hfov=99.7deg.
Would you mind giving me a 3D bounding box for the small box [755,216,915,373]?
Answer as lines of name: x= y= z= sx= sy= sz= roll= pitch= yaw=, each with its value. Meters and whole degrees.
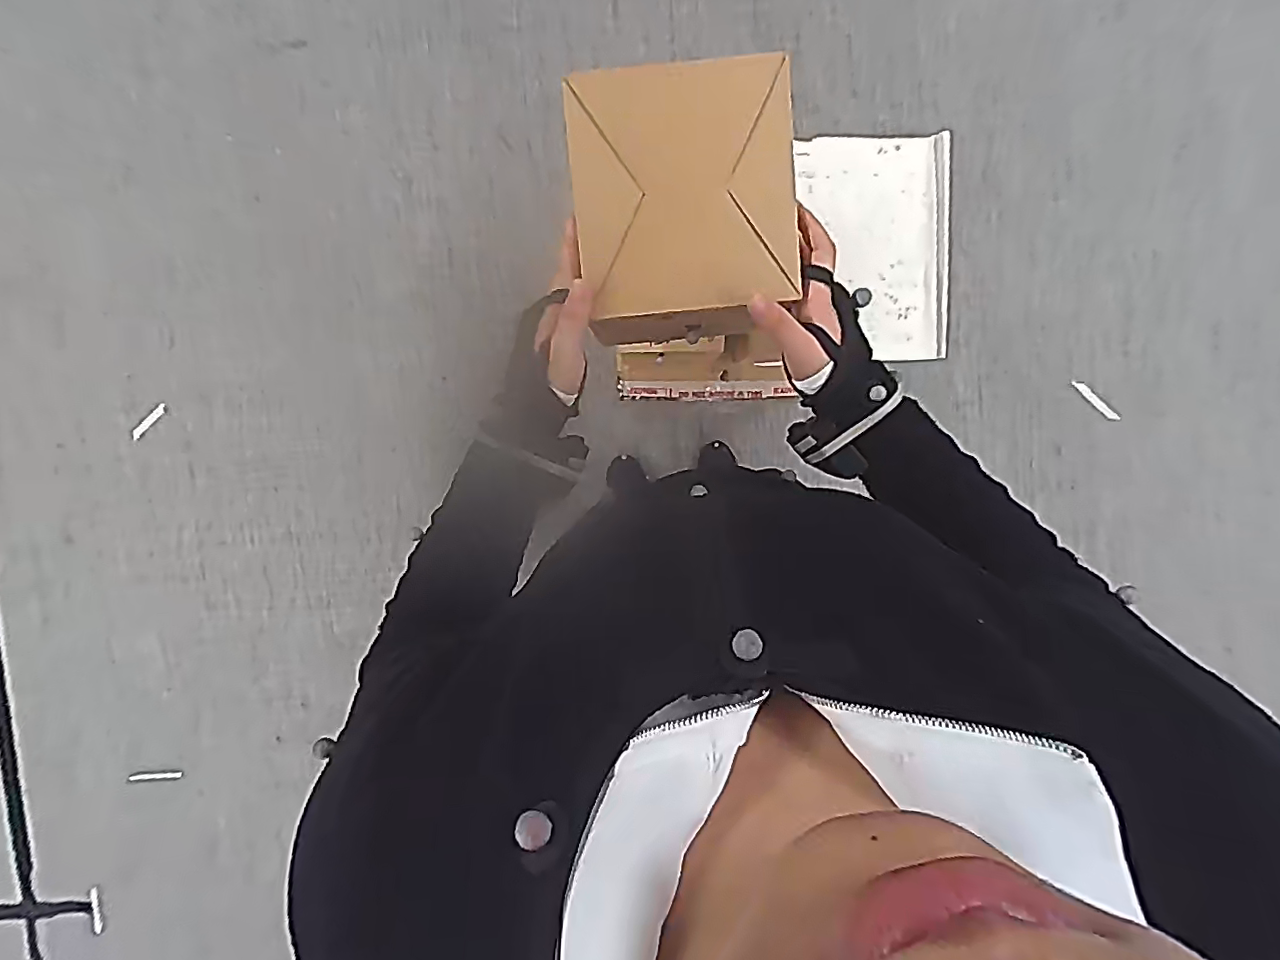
small box: x=0.262 y=-0.249 z=0.763 sx=0.168 sy=0.176 sz=0.179 roll=-2 pitch=95 yaw=-2
